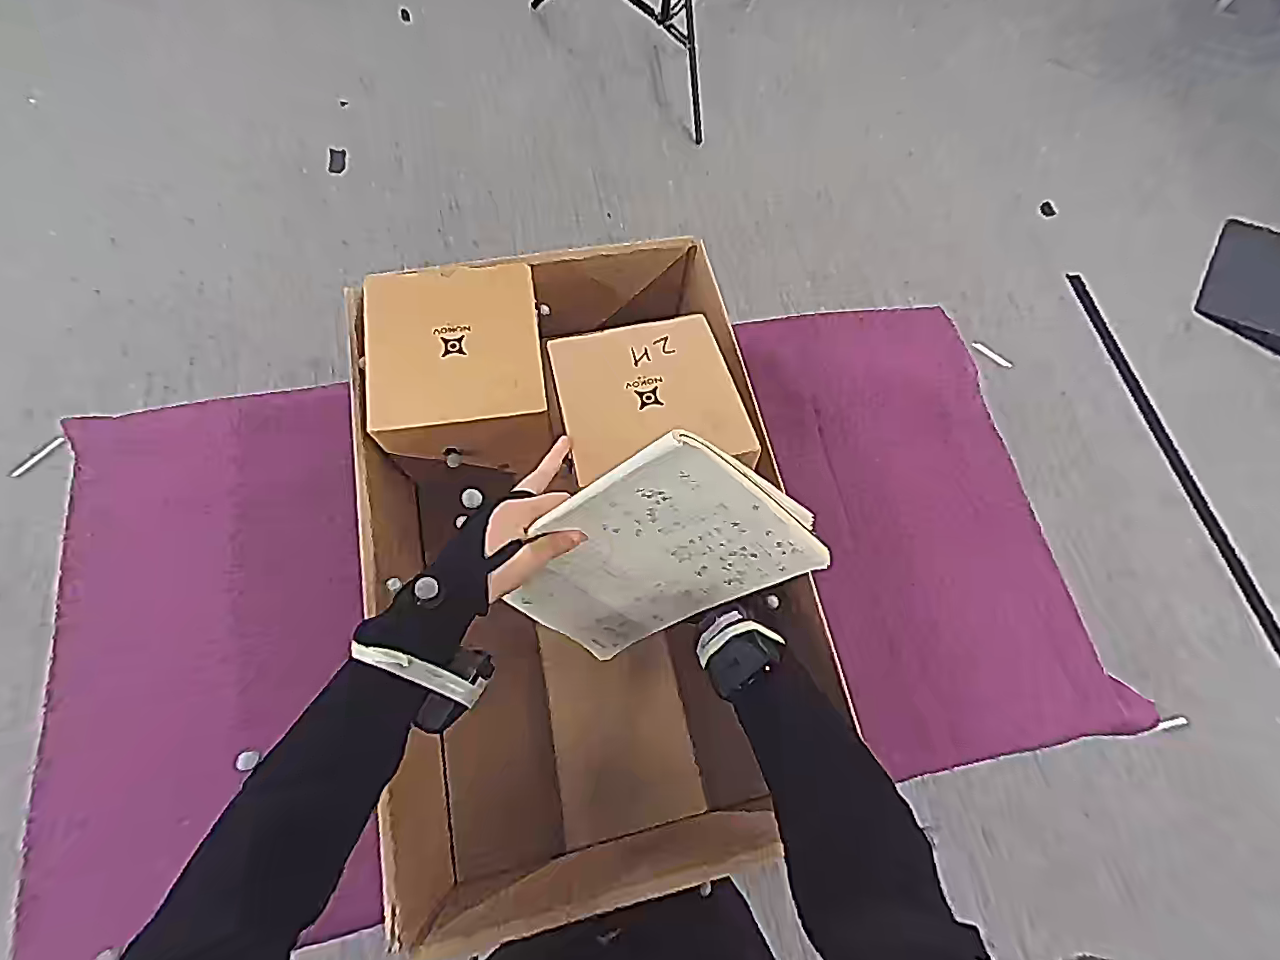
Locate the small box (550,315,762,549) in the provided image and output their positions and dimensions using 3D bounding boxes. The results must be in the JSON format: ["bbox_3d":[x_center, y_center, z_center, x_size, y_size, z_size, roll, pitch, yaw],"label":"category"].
[{"bbox_3d":[0.010,-0.040,0.576,0.168,0.176,0.179,-13,61,-8],"label":"small box"}]
